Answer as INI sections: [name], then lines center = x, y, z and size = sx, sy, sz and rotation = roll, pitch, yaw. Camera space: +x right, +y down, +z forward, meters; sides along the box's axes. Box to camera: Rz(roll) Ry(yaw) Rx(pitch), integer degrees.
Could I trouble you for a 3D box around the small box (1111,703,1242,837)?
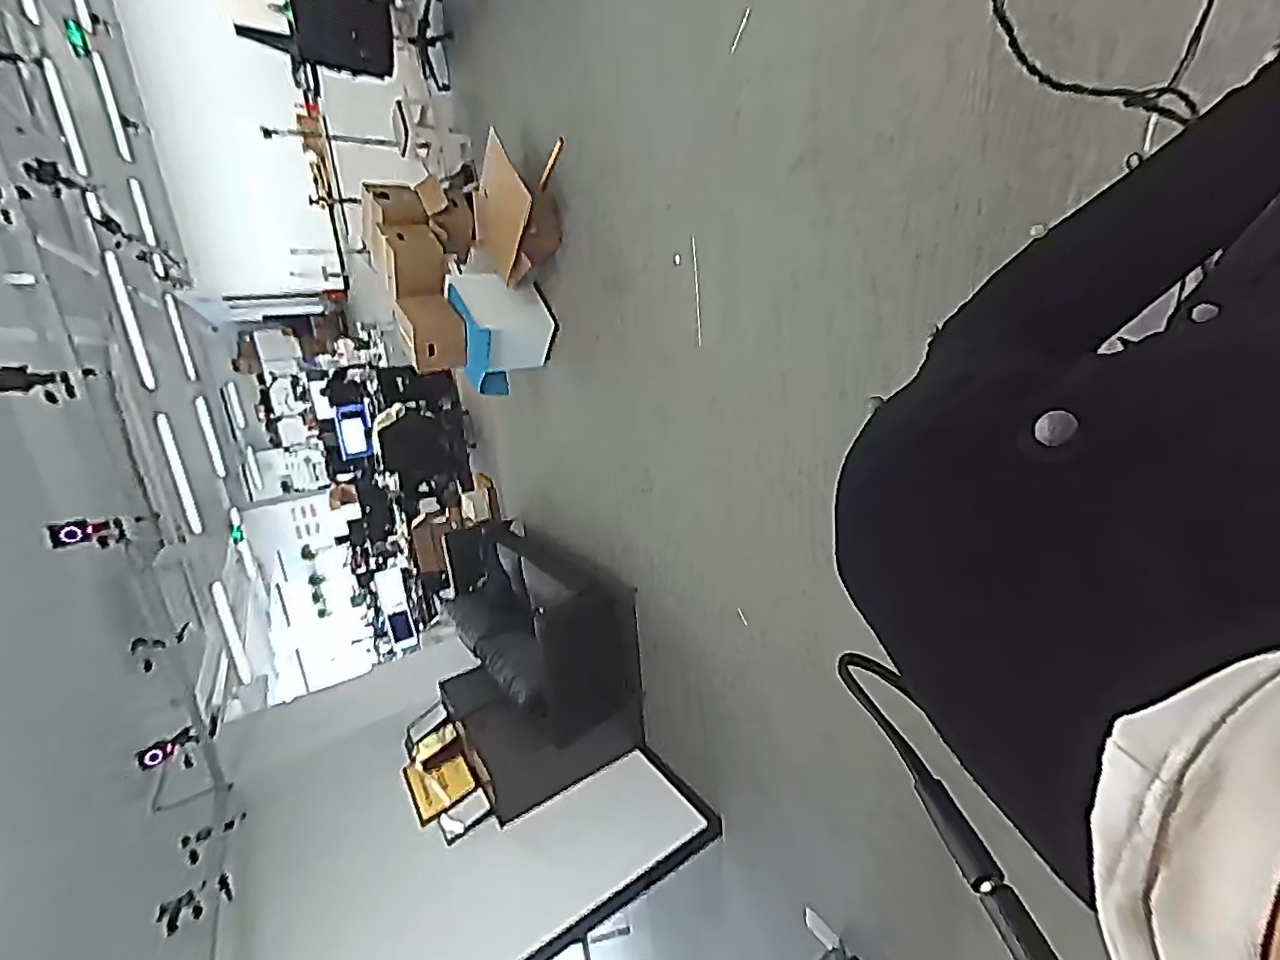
[small box]
center = 1.224, 0.648, 1.234
size = 0.168, 0.176, 0.179
rotation = 21, 119, 56
